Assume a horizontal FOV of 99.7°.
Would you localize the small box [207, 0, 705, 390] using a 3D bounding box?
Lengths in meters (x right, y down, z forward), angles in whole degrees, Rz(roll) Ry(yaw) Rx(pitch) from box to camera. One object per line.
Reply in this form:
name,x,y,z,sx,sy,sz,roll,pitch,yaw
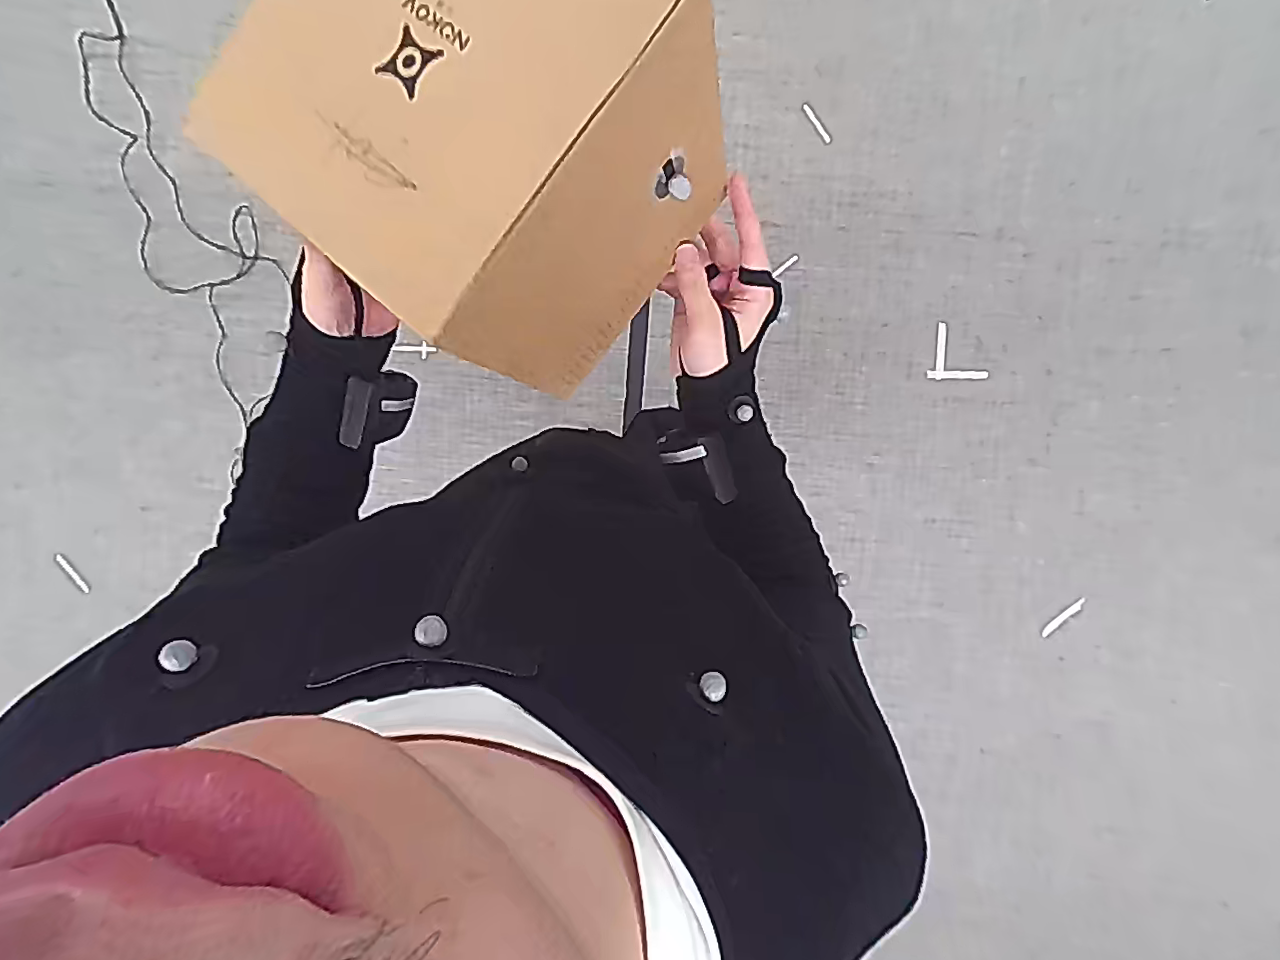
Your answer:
small box,-0.076,-0.175,0.311,0.168,0.176,0.179,39,98,9
